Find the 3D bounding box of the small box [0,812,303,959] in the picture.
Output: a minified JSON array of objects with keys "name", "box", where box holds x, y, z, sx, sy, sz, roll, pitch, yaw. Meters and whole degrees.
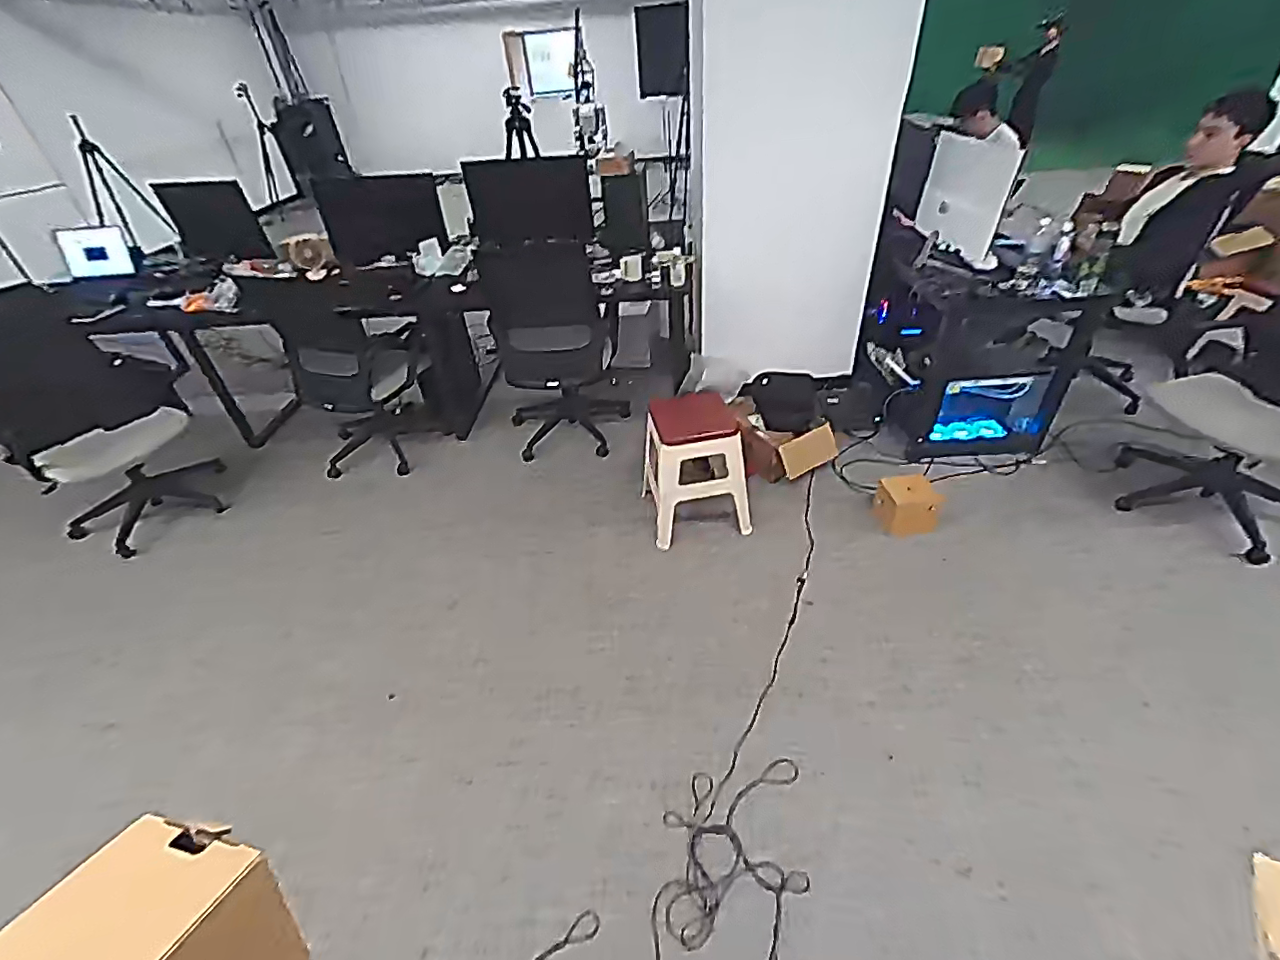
[{"name":"small box","box":[-0.450,0.453,0.488,0.168,0.176,0.179,3,21,17]}]
